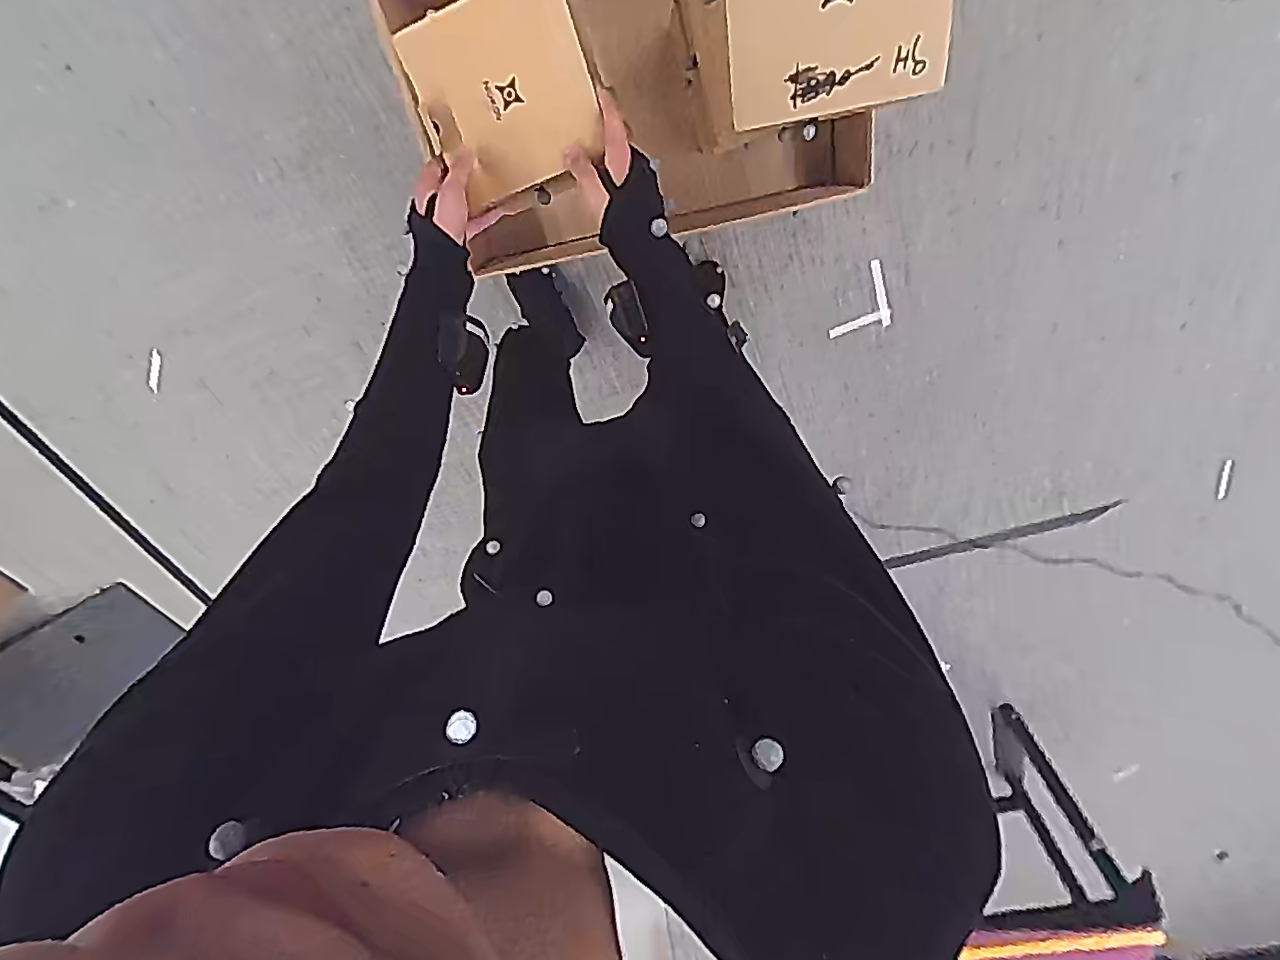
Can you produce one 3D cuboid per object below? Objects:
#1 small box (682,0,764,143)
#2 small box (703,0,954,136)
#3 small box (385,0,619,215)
[{"bbox_3d":[0.145,-0.484,0.591,0.179,0.176,0.168,-12,120,9],"label":"small box"},{"bbox_3d":[0.141,-0.404,0.448,0.168,0.176,0.179,-7,120,7],"label":"small box"},{"bbox_3d":[-0.130,-0.411,0.595,0.179,0.176,0.168,-16,115,13],"label":"small box"}]
